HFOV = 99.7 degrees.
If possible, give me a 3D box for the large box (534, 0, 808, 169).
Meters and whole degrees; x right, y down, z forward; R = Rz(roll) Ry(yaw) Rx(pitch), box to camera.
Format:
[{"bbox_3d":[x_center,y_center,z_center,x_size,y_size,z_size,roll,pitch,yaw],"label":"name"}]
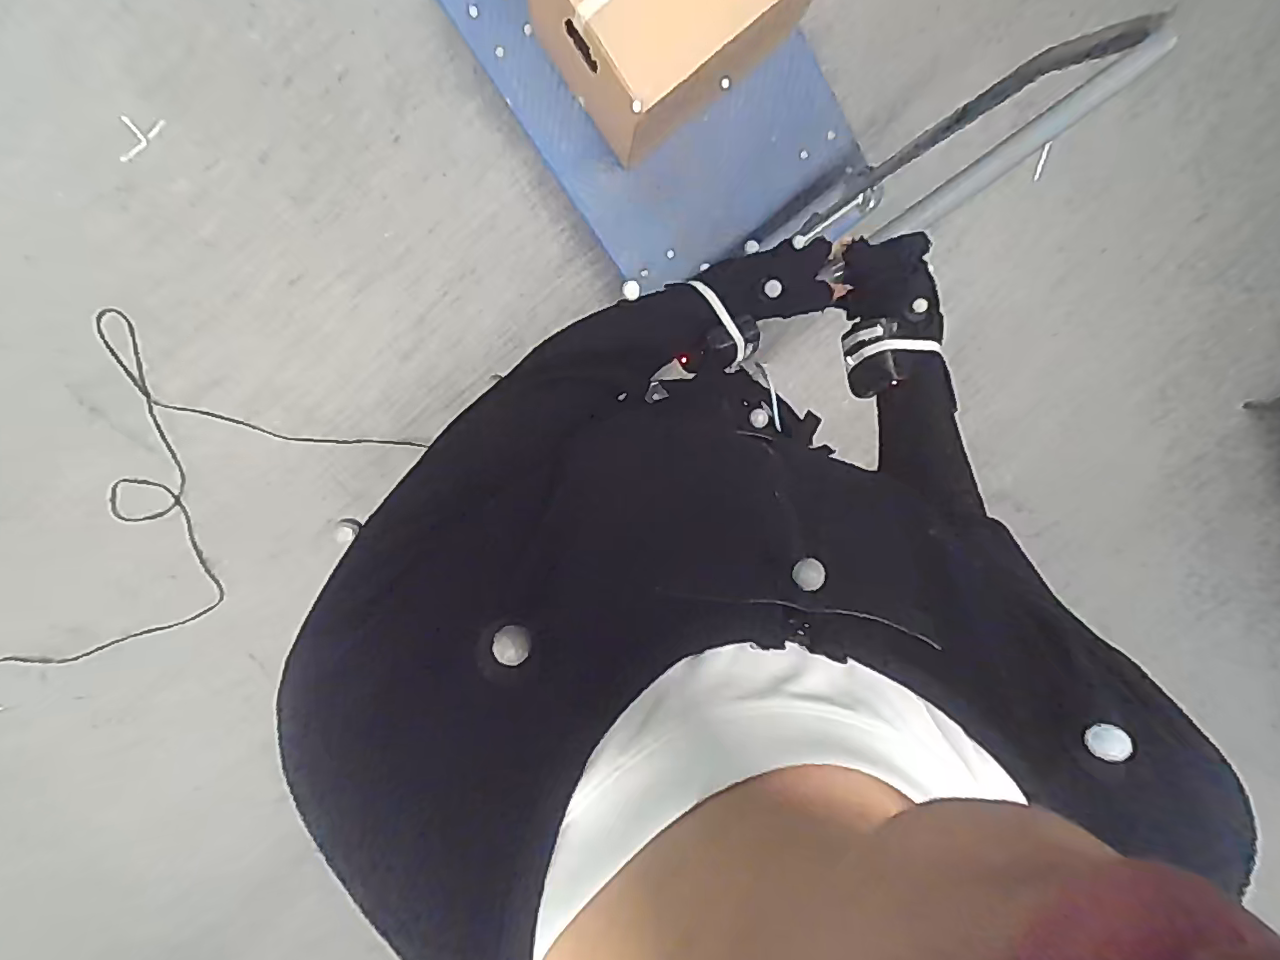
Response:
[{"bbox_3d":[0.060,-0.848,0.947,0.408,0.320,0.320,-38,104,5],"label":"large box"}]
